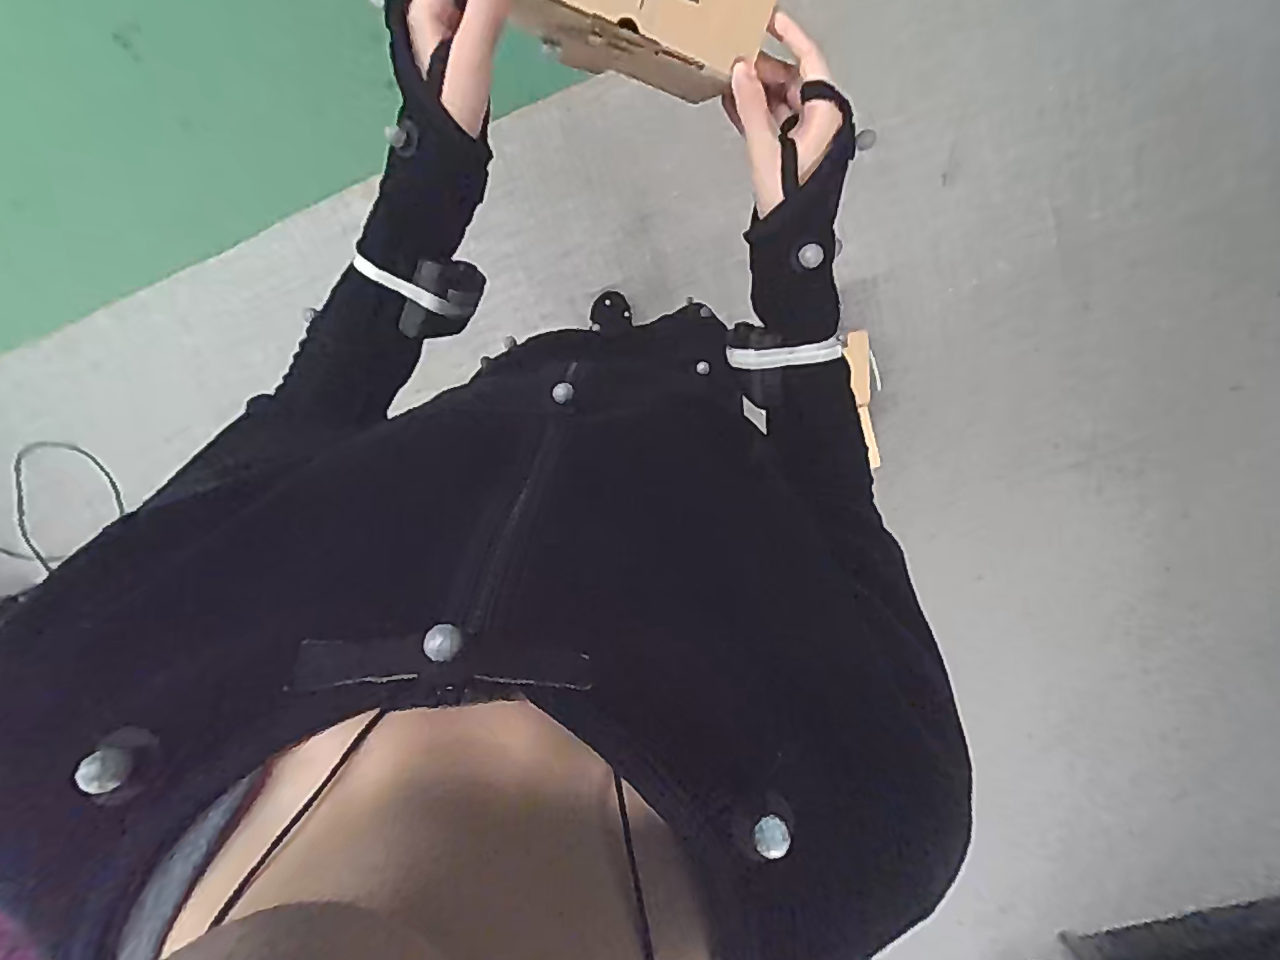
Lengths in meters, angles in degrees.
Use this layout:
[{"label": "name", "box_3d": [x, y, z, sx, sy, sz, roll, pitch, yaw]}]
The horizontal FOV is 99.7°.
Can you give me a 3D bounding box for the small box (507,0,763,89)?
[{"label": "small box", "box_3d": [0.003, -0.387, 0.355, 0.168, 0.176, 0.179, 11, 119, -16]}]
